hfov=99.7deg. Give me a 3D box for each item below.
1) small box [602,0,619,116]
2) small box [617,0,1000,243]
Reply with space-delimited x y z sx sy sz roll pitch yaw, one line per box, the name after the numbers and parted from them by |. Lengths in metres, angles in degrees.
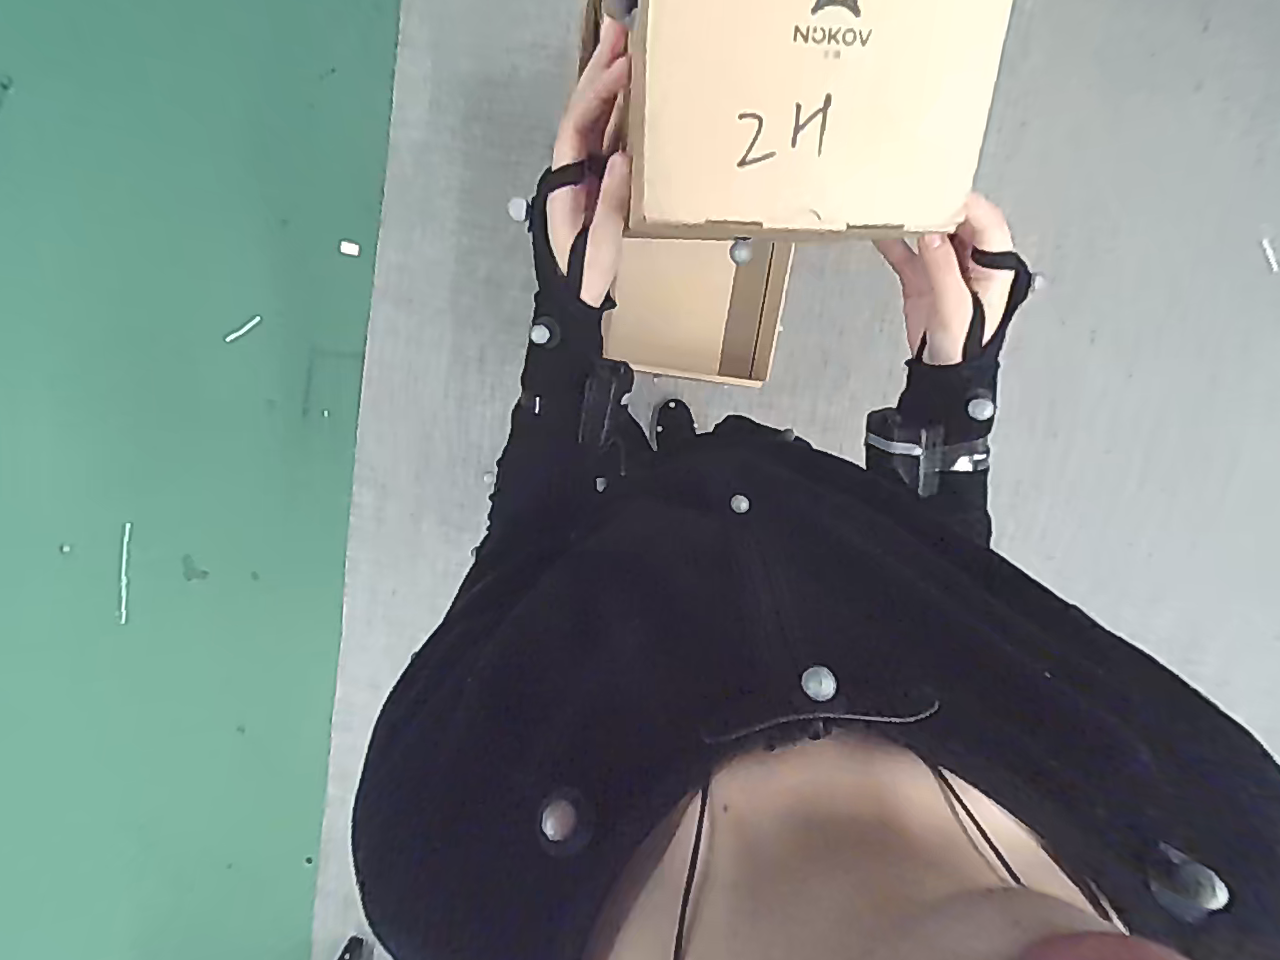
0.047 -0.629 0.753 0.179 0.176 0.168 4 98 2 | small box
0.073 -0.239 0.315 0.168 0.176 0.179 -1 112 -5 | small box
